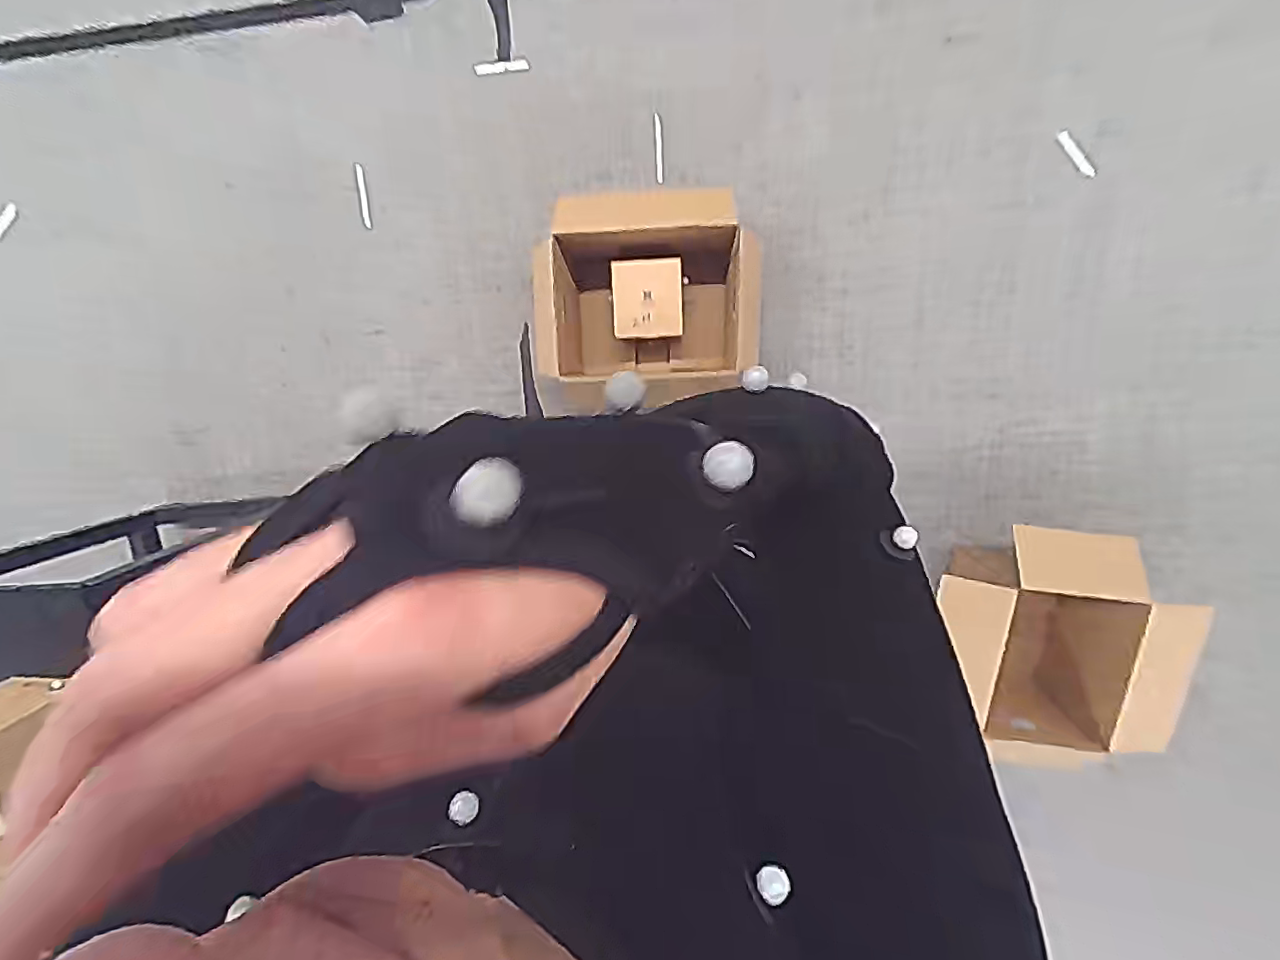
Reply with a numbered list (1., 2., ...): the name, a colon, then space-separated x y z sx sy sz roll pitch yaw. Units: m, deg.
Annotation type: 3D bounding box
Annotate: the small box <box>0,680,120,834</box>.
1. small box: -1.066 0.465 0.930 0.168 0.176 0.179 -1 104 6
